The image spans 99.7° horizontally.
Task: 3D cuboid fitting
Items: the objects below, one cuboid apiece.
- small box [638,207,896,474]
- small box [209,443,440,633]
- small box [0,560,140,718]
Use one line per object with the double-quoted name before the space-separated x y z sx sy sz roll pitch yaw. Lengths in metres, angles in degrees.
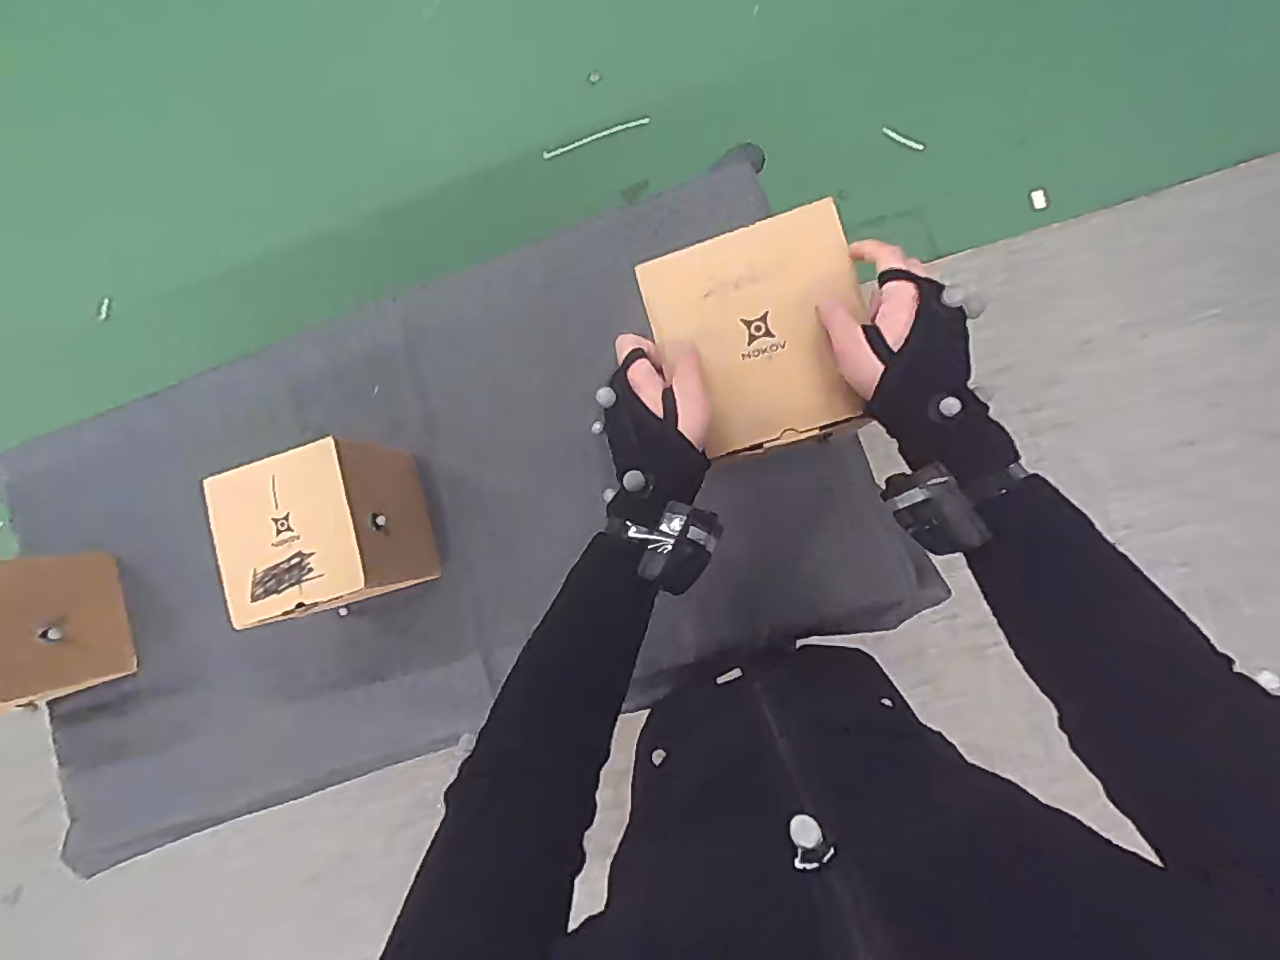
"small box" 0.111 -0.107 0.507 0.168 0.176 0.179 -17 83 9
"small box" -0.374 0.069 0.670 0.168 0.176 0.179 -17 83 6
"small box" -0.823 0.216 0.716 0.168 0.176 0.179 -19 84 4
